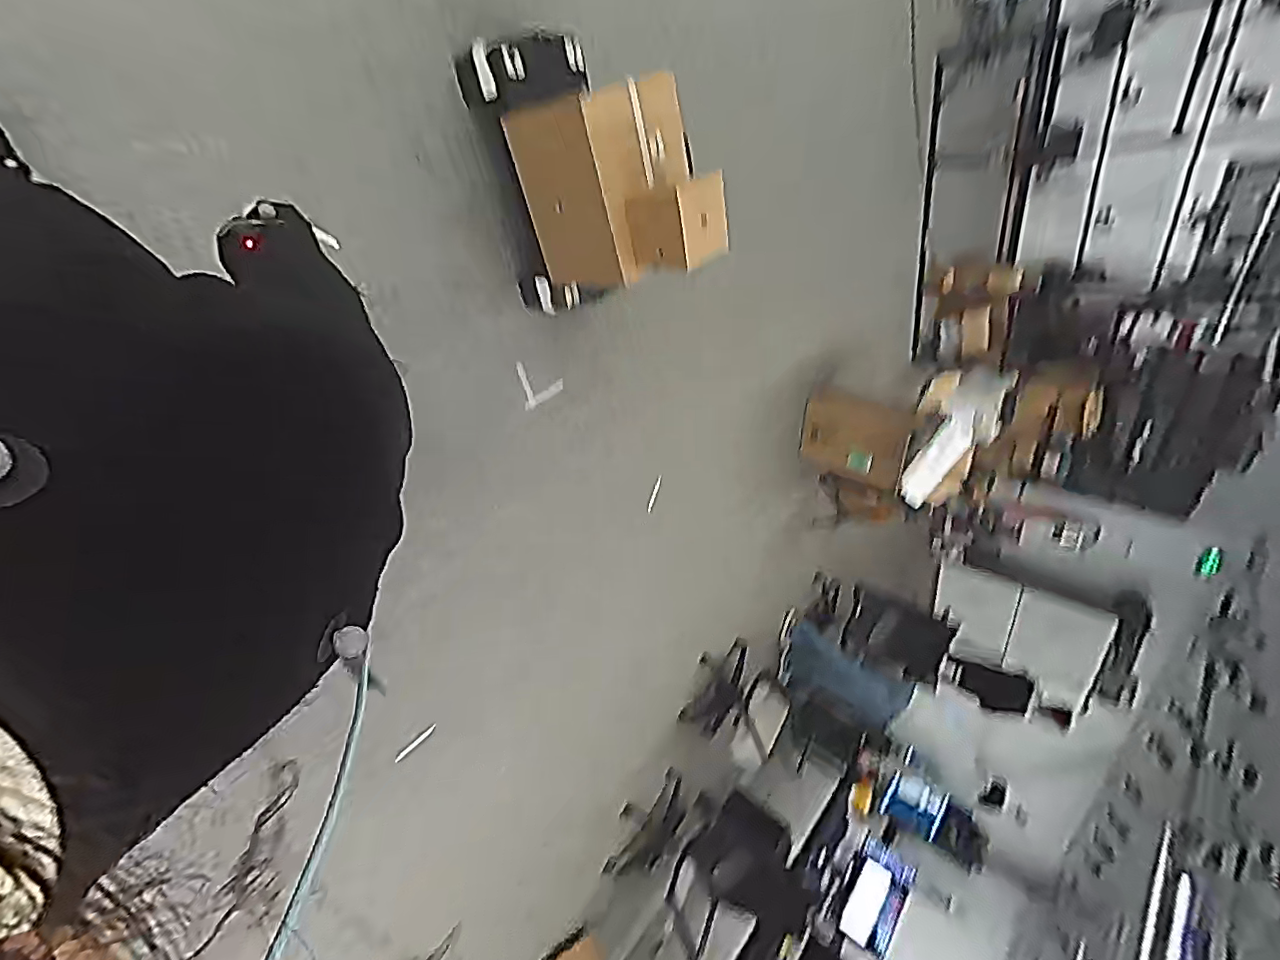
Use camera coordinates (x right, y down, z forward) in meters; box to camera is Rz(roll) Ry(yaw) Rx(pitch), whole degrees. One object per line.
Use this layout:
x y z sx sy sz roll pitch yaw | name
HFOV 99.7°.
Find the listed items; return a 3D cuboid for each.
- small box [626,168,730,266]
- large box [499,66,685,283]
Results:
0.090 -0.622 1.285 0.168 0.176 0.179 -37 129 -32 | small box
-0.096 -0.766 1.401 0.320 0.320 0.408 -41 131 -30 | large box
